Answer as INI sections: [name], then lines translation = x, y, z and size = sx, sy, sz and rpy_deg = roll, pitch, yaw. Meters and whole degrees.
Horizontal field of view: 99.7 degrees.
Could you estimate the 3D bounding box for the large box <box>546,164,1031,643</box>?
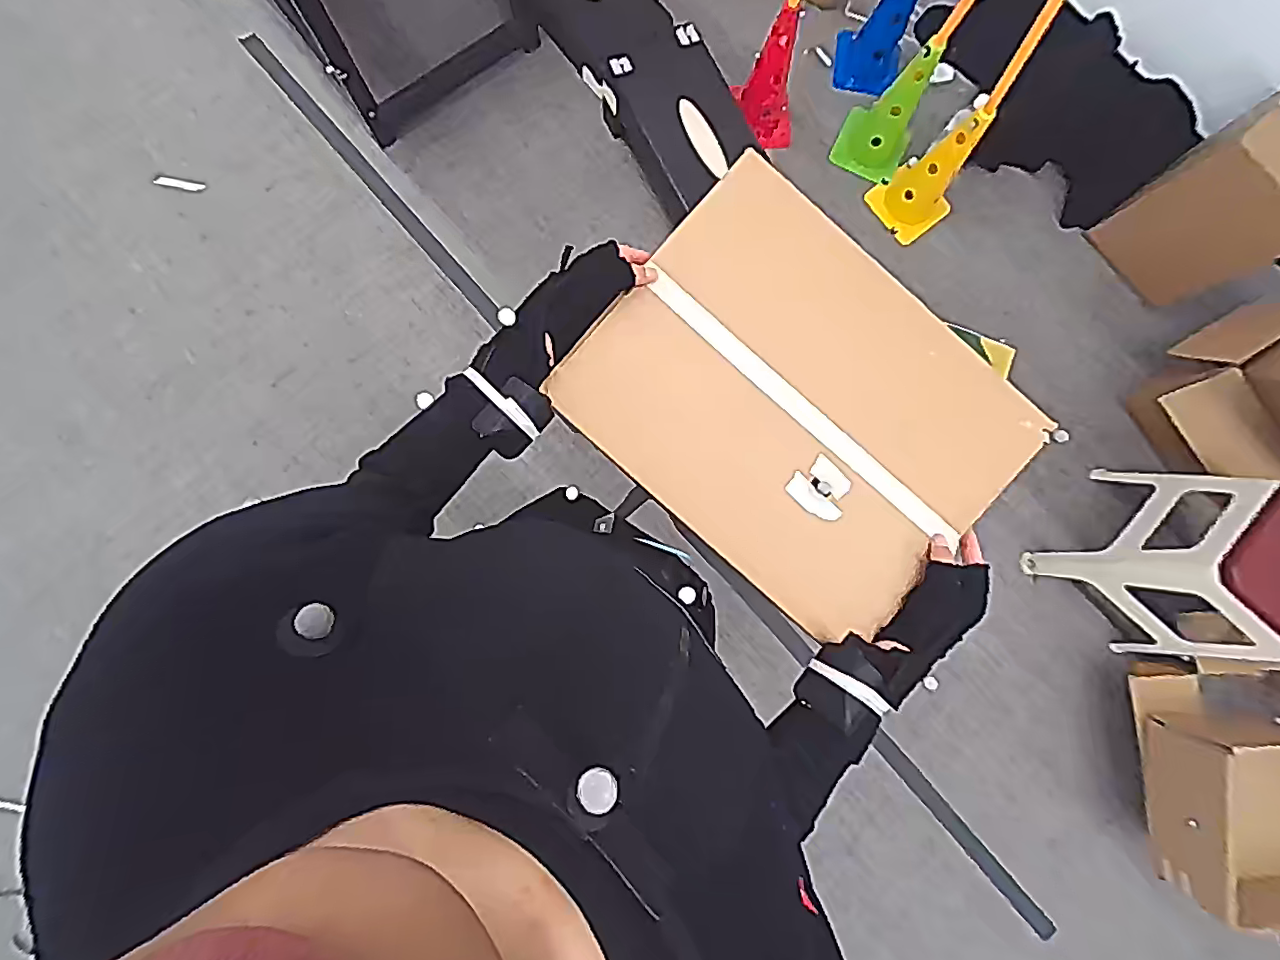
[large box]
translation = 0.145, -0.077, 0.687
size = 0.408, 0.320, 0.320
rpy_deg = 42, 90, -3
